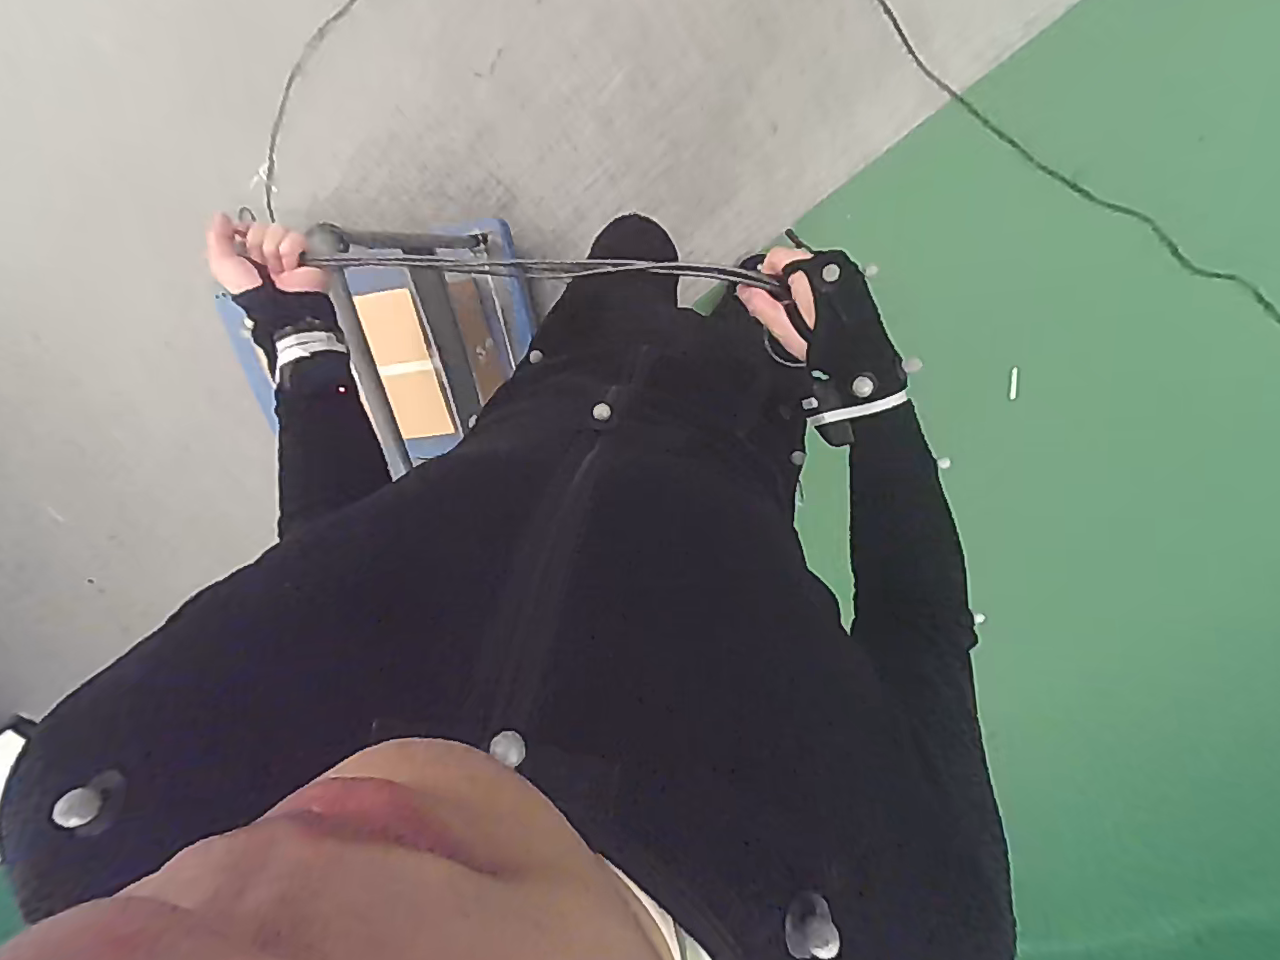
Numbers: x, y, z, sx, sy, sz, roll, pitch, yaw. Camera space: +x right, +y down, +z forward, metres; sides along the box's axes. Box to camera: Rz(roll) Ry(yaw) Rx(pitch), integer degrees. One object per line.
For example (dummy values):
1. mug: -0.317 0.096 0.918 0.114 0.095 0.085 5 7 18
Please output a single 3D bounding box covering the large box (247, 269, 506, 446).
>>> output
1. large box: -0.597 -0.300 1.299 0.408 0.320 0.320 -5 113 12
